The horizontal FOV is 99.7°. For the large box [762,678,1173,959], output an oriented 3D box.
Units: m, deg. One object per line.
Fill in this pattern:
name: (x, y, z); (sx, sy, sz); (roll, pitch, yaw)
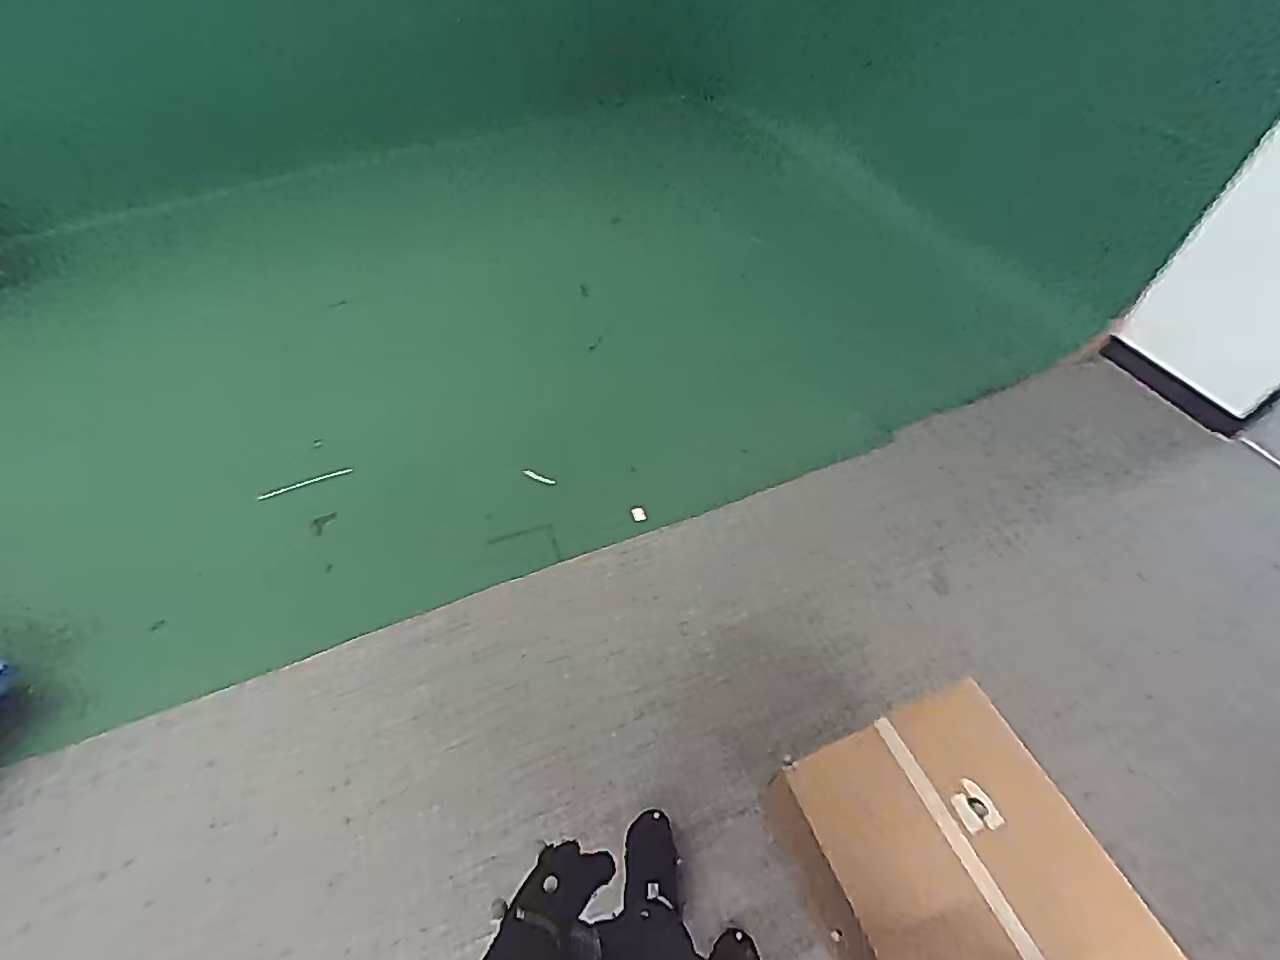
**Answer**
large box: (0.413, 0.572, 0.772); (0.320, 0.320, 0.408); (-21, 54, -8)
